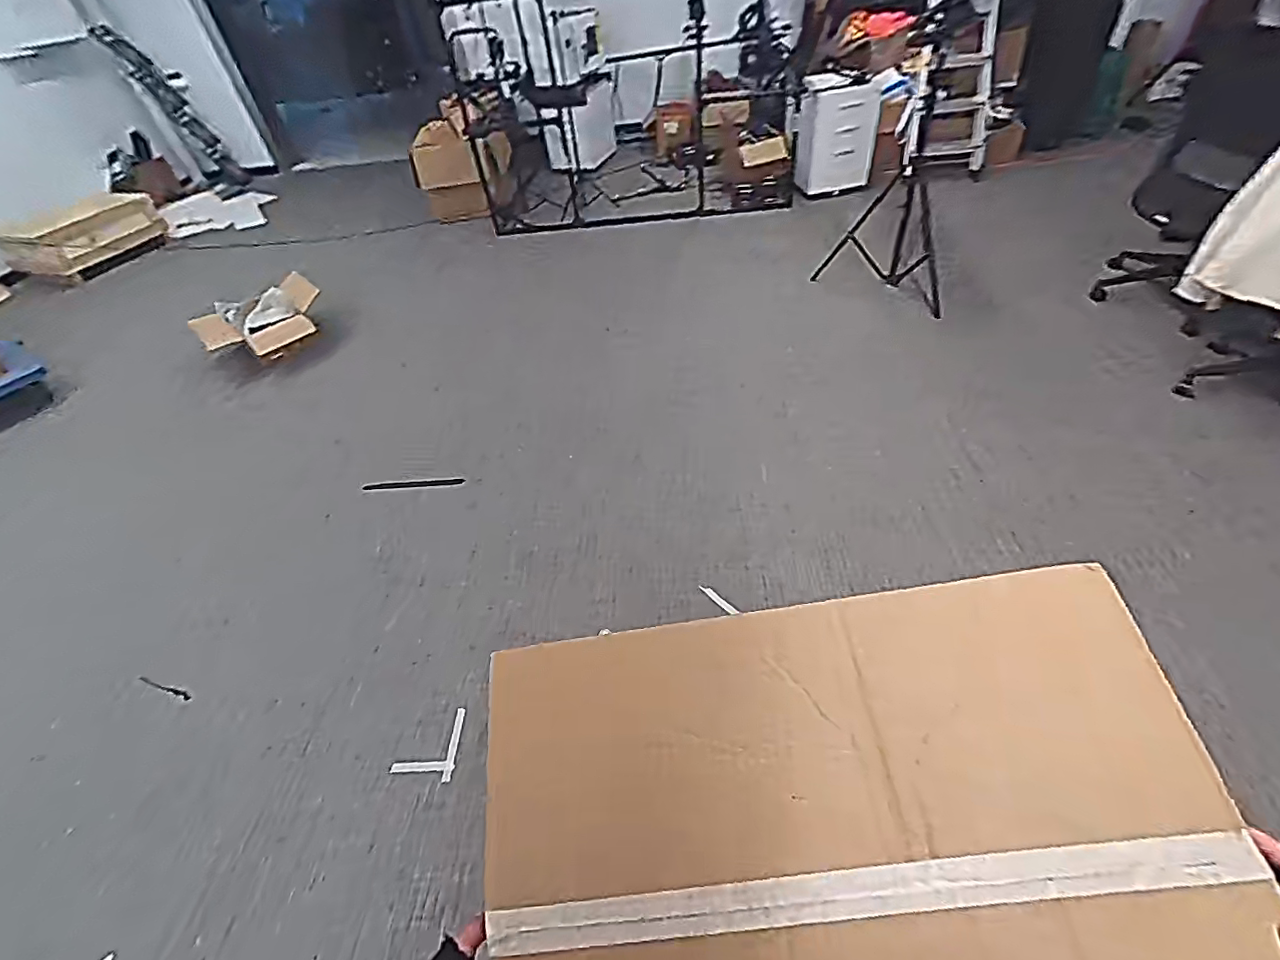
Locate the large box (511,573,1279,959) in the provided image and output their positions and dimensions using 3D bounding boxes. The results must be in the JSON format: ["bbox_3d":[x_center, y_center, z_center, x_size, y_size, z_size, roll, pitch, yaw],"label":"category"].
[{"bbox_3d":[0.143,0.299,0.434,0.408,0.320,0.320,-11,63,5],"label":"large box"}]
